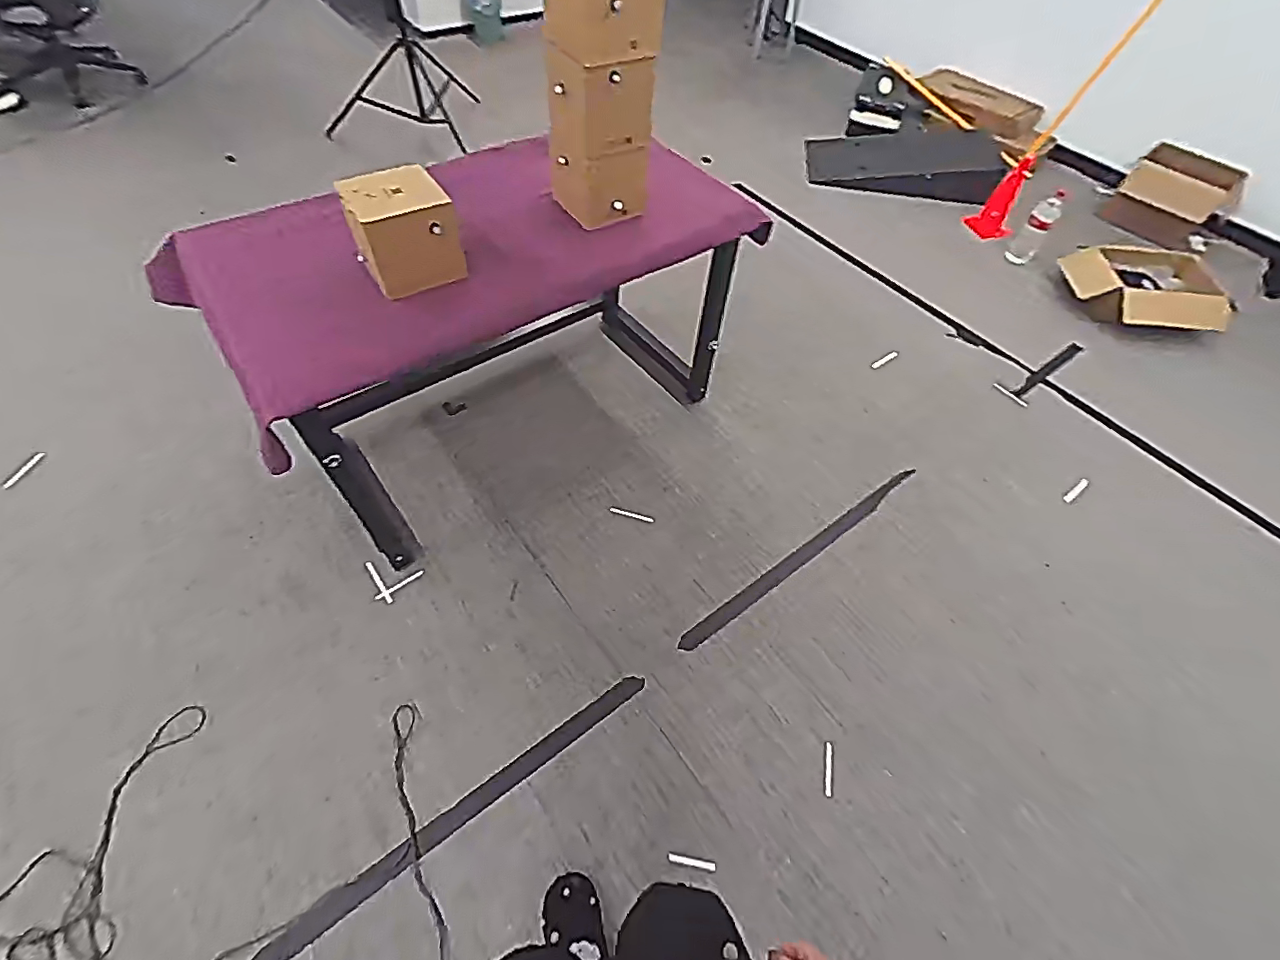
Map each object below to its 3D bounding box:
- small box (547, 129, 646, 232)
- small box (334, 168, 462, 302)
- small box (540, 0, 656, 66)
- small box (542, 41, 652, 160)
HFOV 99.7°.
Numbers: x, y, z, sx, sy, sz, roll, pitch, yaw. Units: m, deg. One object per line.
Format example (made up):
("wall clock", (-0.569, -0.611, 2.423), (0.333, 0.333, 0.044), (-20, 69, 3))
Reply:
("small box", (-0.105, -0.726, 1.286), (0.168, 0.176, 0.179), (-29, 63, -21))
("small box", (-0.480, -0.496, 1.102), (0.179, 0.176, 0.168), (-28, 61, -21))
("small box", (-0.078, -0.903, 1.012), (0.168, 0.176, 0.179), (-27, 61, -20))
("small box", (-0.092, -0.815, 1.149), (0.168, 0.176, 0.179), (-27, 61, -20))
